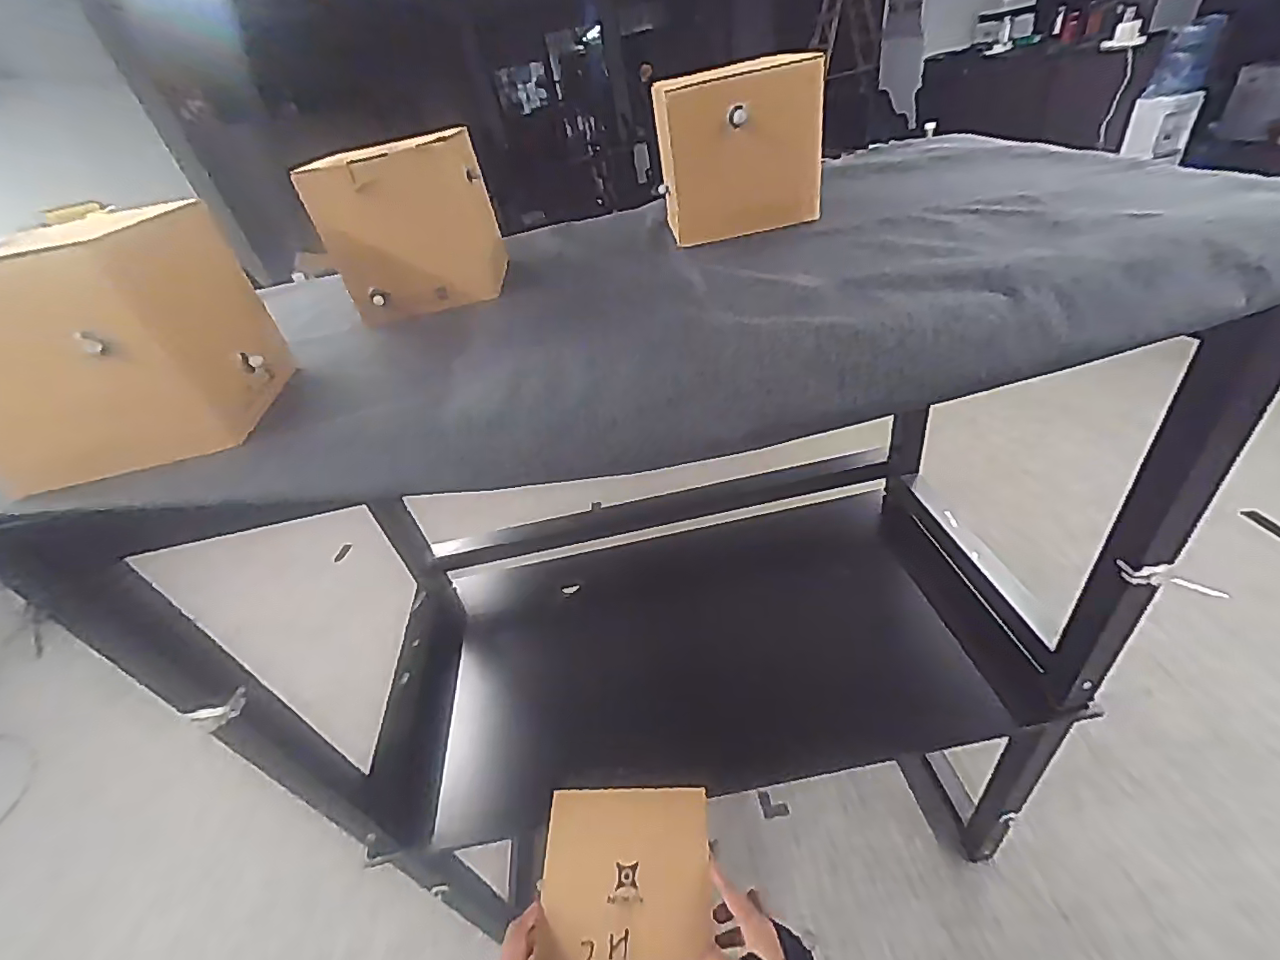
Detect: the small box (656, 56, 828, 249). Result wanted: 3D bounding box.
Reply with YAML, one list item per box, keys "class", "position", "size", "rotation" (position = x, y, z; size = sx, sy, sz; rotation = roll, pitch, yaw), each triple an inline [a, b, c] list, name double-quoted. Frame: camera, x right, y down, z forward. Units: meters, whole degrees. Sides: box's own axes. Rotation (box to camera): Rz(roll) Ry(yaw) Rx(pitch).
- class: "small box"
  position: [0.123, -0.413, 0.684]
  size: [0.179, 0.176, 0.168]
  rotation: [-11, 37, 4]

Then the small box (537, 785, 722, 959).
- class: "small box"
  position: [-0.001, 0.445, 0.567]
  size: [0.168, 0.176, 0.179]
  rotation: [-4, 42, 5]

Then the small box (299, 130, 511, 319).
- class: "small box"
  position: [-0.268, -0.312, 0.670]
  size: [0.168, 0.176, 0.179]
  rotation: [-12, 36, 1]
